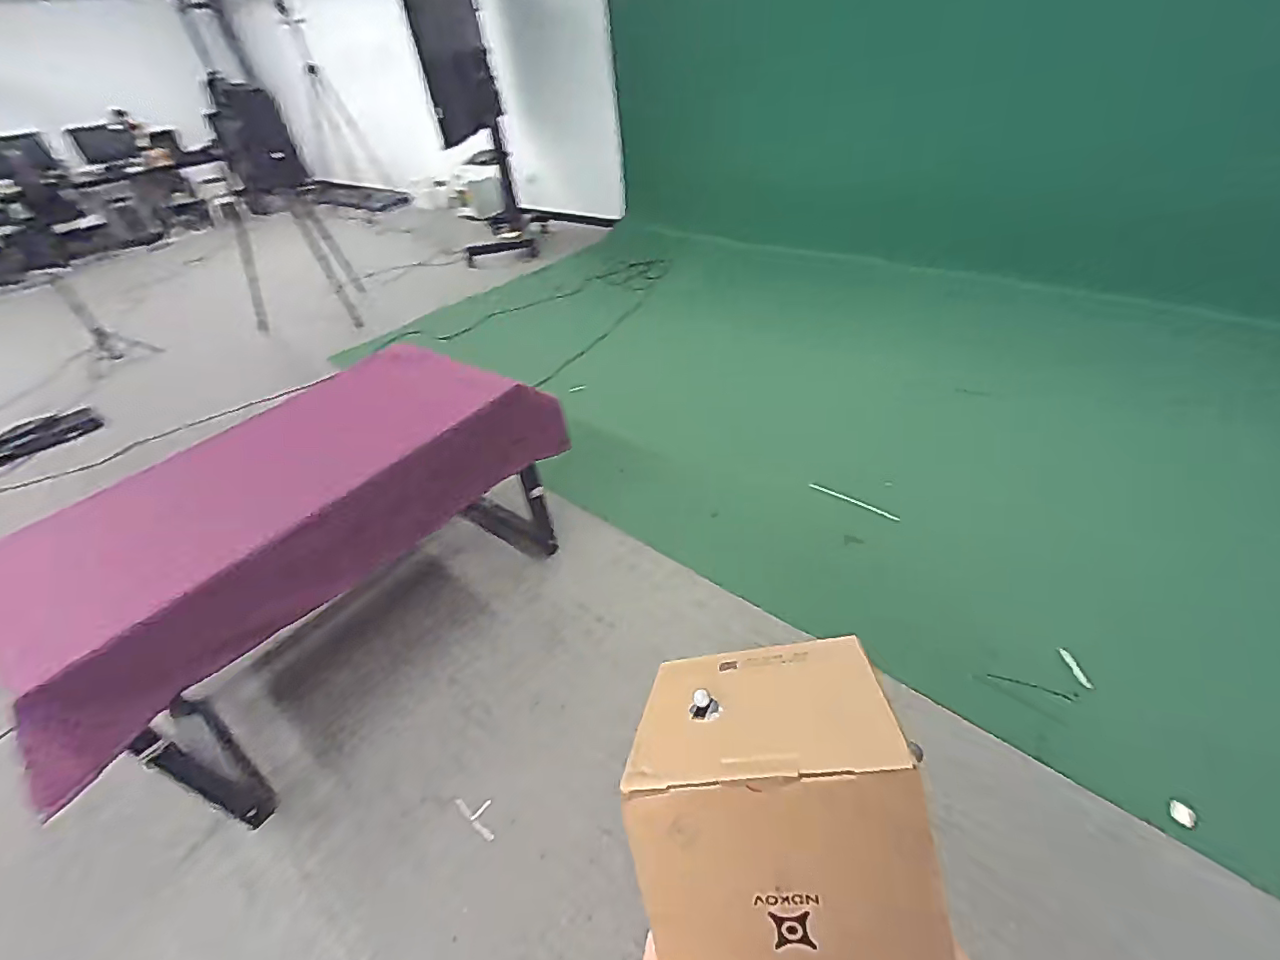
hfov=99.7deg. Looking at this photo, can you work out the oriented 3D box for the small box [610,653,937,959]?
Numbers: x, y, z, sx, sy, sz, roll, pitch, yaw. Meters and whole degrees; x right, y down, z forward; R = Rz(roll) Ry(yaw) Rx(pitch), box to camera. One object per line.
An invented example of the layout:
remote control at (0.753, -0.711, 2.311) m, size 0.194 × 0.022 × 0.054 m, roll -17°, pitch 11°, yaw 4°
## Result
small box at (0.091, 0.238, 0.383) m, size 0.168 × 0.179 × 0.176 m, roll -12°, pitch 5°, yaw 12°
